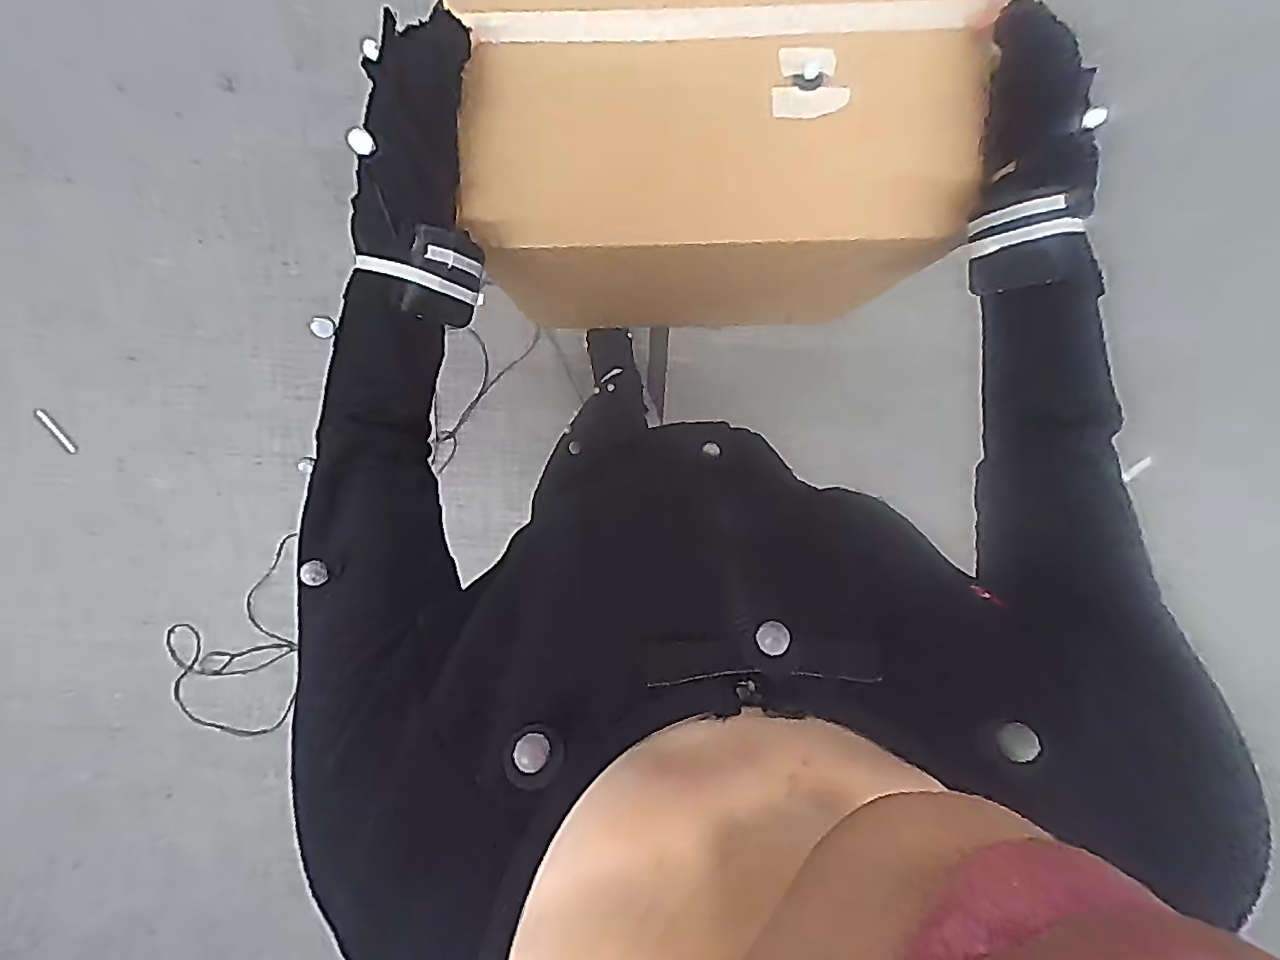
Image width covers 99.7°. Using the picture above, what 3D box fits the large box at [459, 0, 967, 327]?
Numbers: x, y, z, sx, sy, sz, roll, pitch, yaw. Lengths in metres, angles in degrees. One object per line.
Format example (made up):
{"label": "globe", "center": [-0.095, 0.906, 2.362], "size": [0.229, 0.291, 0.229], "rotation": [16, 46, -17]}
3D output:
{"label": "large box", "center": [0.056, -0.357, 0.572], "size": [0.408, 0.320, 0.320], "rotation": [-2, 94, 0]}
